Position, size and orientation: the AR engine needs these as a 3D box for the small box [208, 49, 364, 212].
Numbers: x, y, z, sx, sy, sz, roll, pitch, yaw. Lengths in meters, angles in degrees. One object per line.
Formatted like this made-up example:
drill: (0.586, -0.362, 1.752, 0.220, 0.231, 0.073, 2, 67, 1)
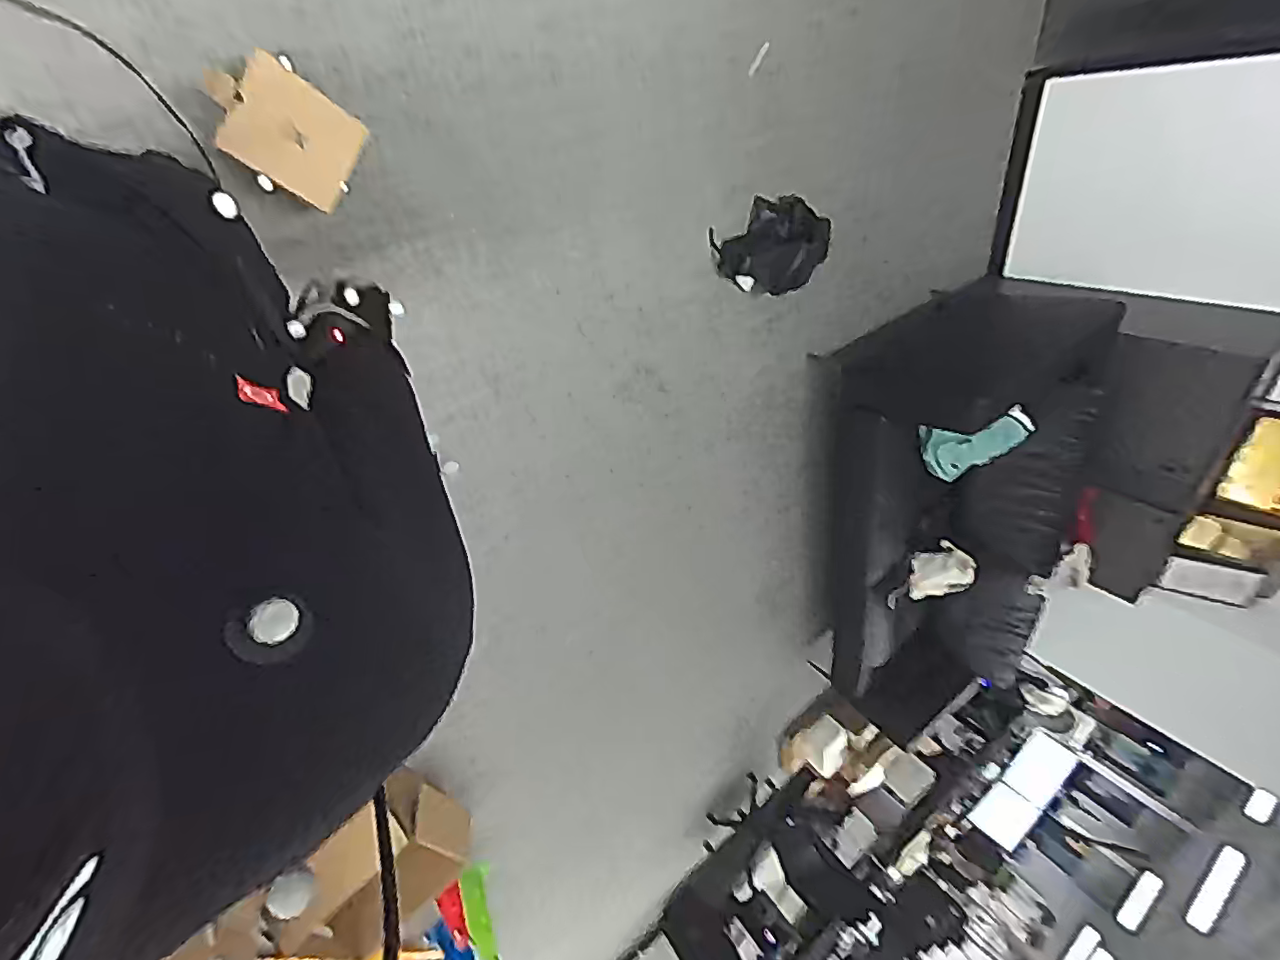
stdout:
small box: (-0.625, -0.607, 0.953, 0.179, 0.176, 0.168, 24, 98, -45)
